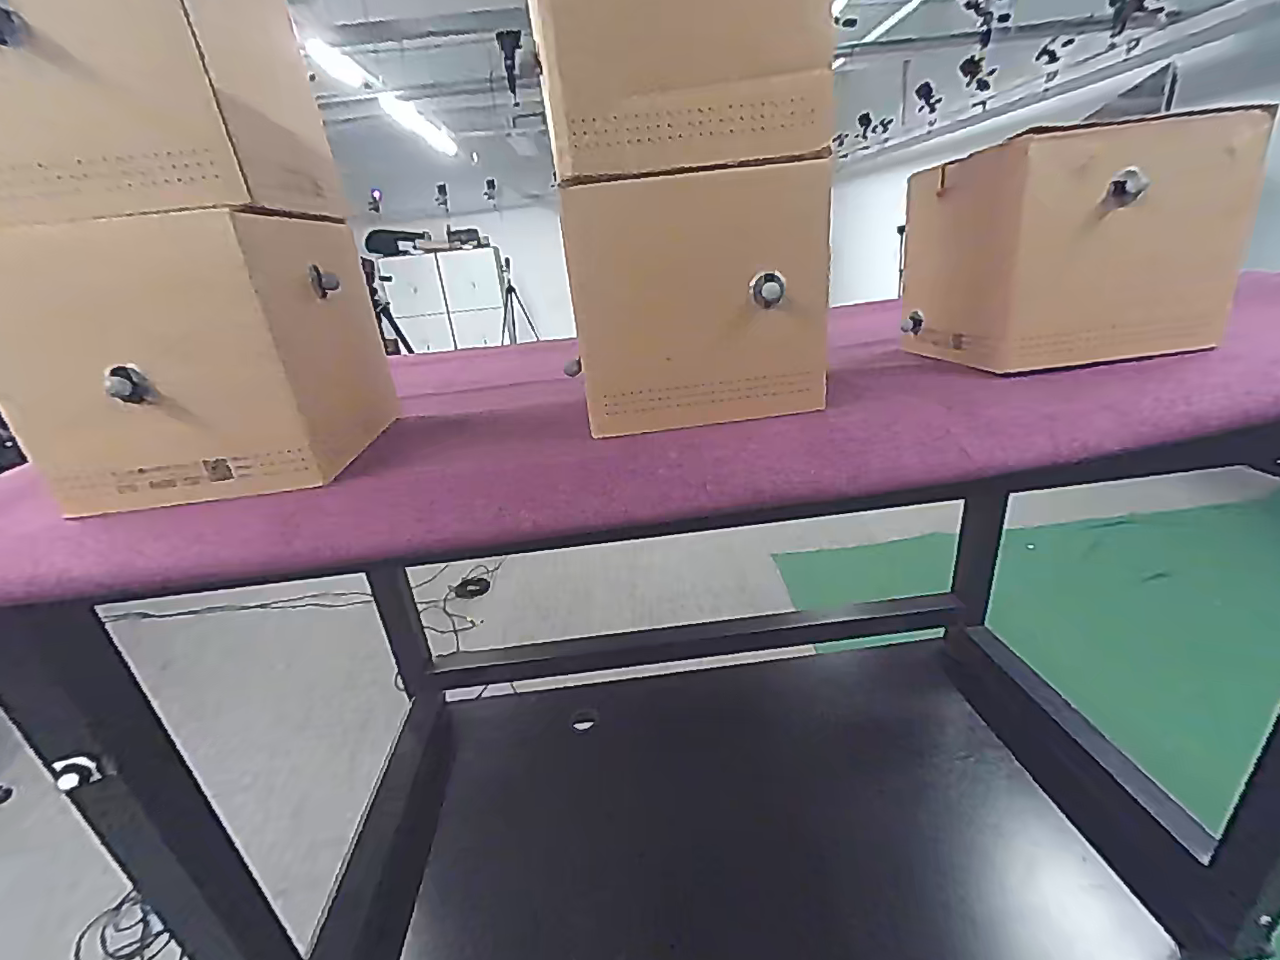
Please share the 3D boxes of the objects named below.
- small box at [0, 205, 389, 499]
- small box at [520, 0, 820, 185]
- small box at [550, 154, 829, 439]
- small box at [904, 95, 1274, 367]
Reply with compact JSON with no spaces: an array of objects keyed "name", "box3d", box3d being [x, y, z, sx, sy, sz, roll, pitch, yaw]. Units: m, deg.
[{"name":"small box","box3d":[-0.304,-0.093,0.390,0.168,0.176,0.179,-7,24,-4]},{"name":"small box","box3d":[0.012,-0.294,0.370,0.179,0.176,0.168,-8,23,-5]},{"name":"small box","box3d":[0.032,-0.144,0.432,0.179,0.176,0.168,-9,23,-3]},{"name":"small box","box3d":[0.349,-0.197,0.464,0.179,0.176,0.168,-6,21,0]}]
